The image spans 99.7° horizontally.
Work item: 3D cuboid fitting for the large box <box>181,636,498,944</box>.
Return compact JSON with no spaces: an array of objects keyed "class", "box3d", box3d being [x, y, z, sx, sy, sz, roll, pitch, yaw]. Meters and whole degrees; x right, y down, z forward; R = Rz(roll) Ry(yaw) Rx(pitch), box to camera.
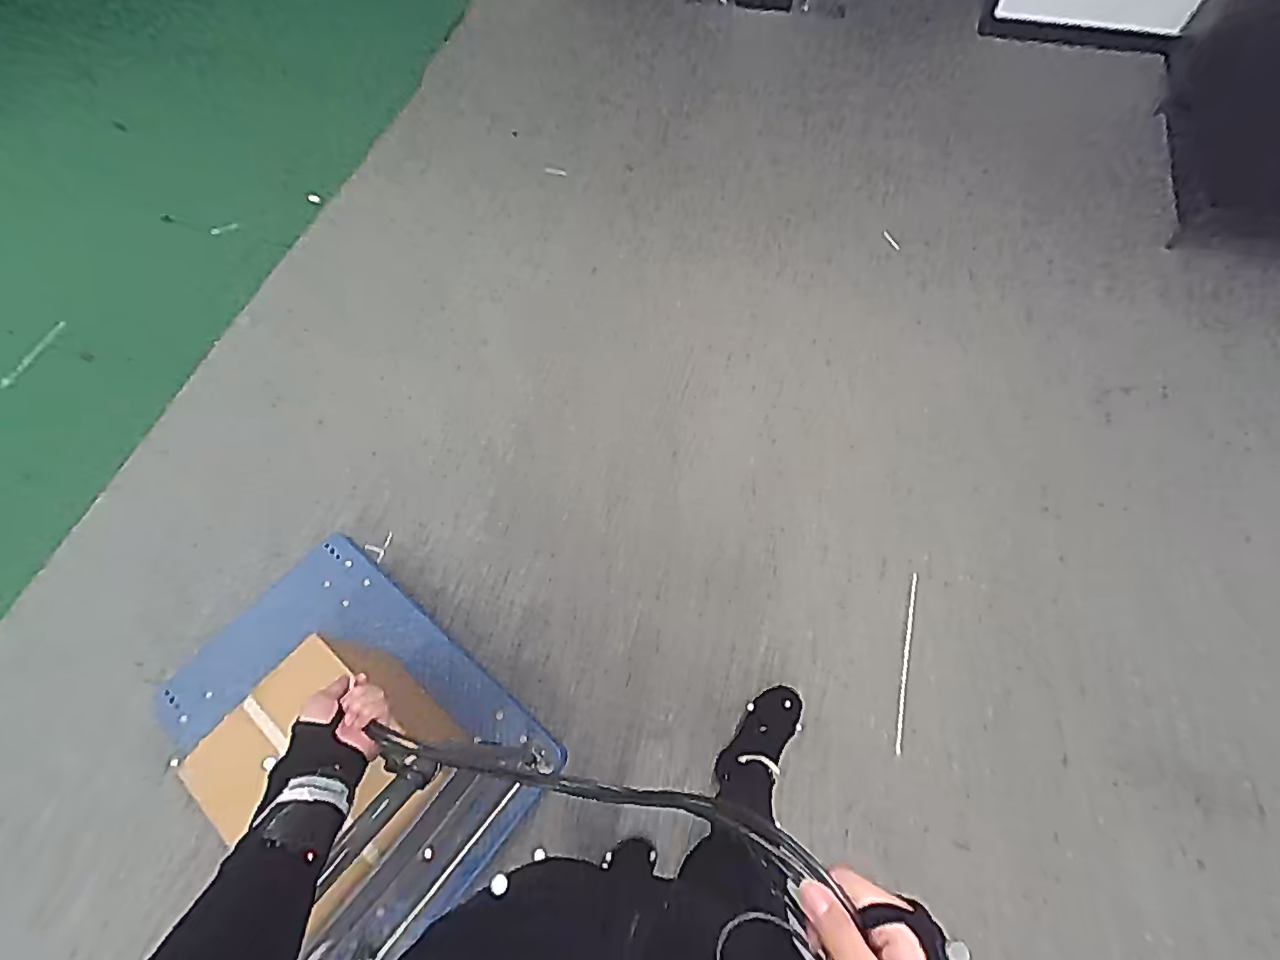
[{"class":"large box","box3d":[-0.567,0.582,1.087,0.408,0.320,0.320,35,71,18]}]
